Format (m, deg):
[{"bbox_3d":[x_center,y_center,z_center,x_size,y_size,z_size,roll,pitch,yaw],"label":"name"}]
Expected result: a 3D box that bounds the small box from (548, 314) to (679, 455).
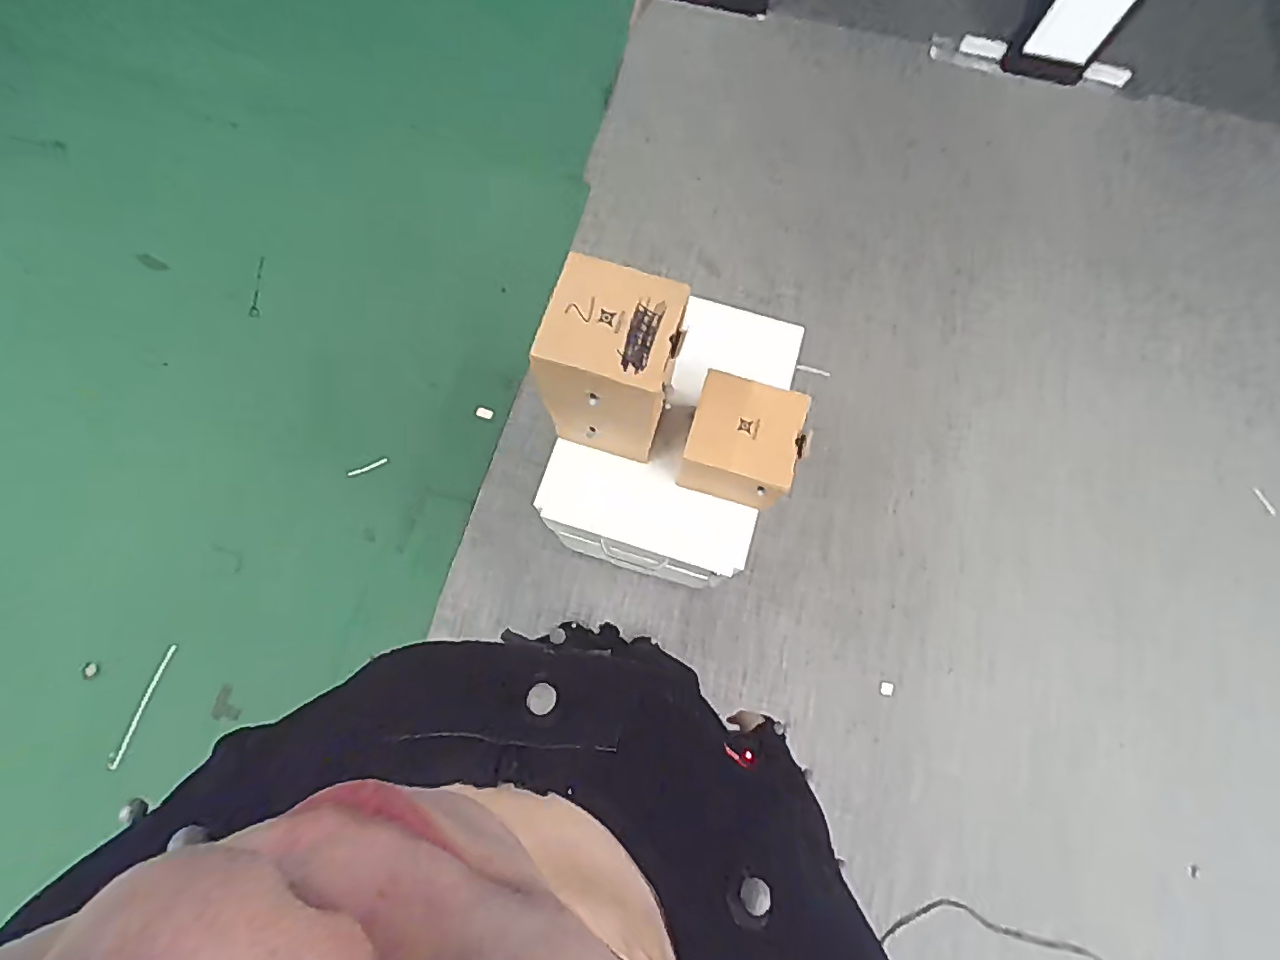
[{"bbox_3d":[-0.044,-0.157,0.946,0.179,0.176,0.168,17,76,2],"label":"small box"}]
